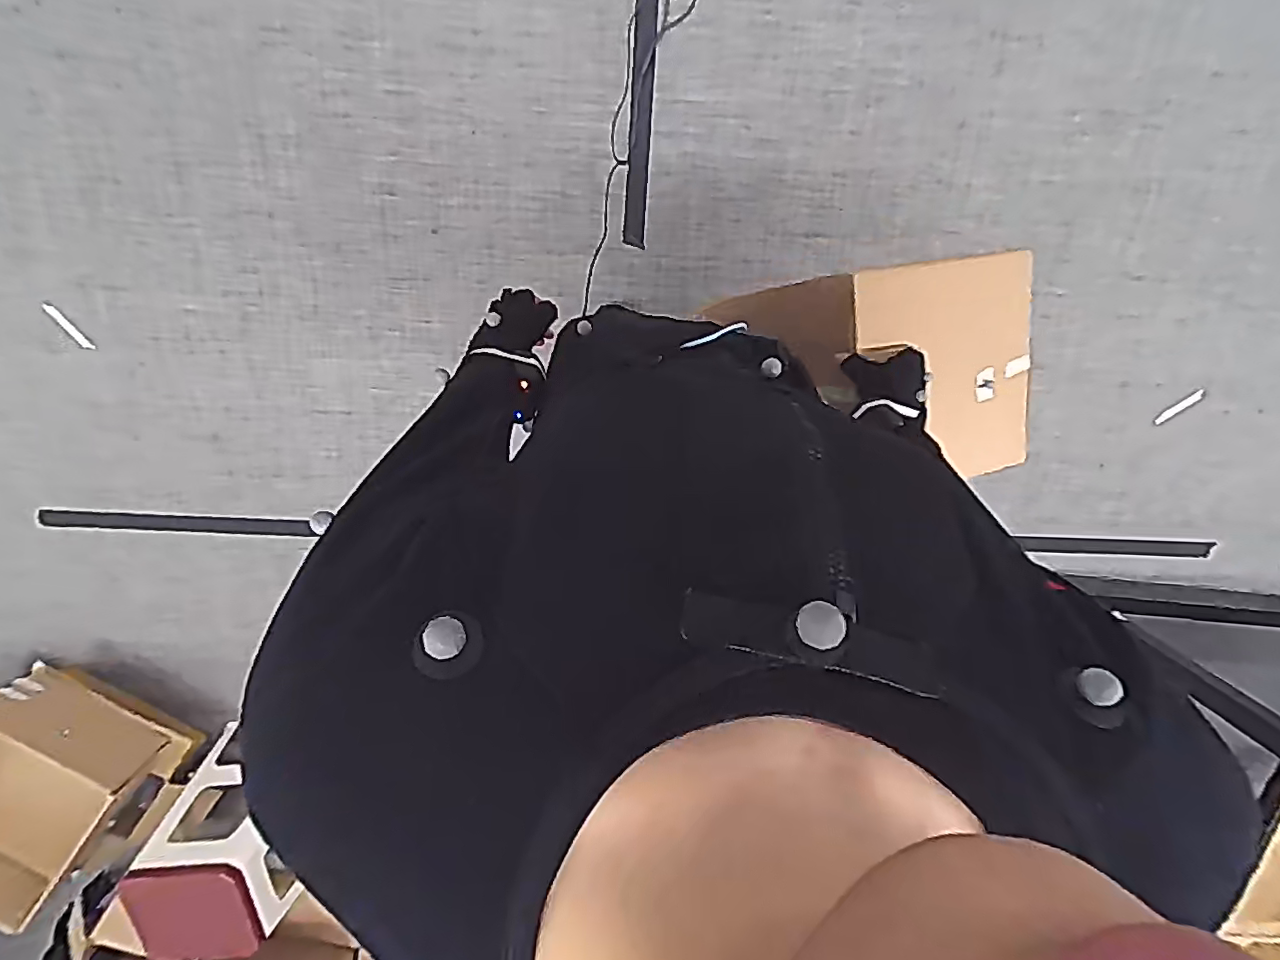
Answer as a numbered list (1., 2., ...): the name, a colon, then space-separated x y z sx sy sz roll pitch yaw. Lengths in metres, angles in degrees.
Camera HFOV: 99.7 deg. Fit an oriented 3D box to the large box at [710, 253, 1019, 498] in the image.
1. large box: 0.360 -0.185 0.942 0.320 0.408 0.320 -11 105 -17
